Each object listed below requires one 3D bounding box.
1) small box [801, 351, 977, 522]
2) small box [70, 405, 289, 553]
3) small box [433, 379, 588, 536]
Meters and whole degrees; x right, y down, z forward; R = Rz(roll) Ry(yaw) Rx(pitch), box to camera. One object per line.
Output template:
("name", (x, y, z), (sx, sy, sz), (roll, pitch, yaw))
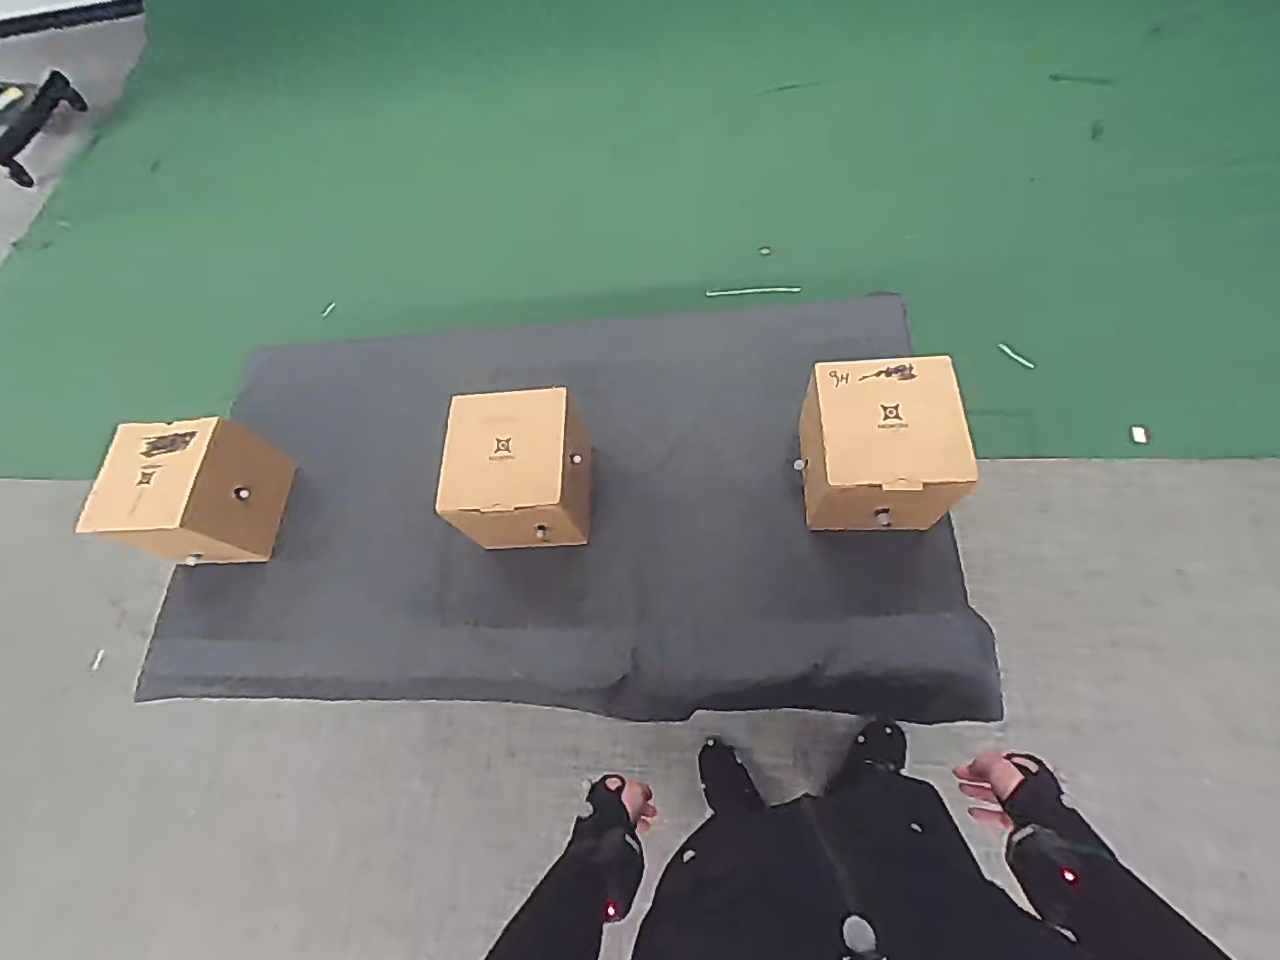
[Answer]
("small box", (0.311, -0.048, 0.715), (0.168, 0.176, 0.179), (-1, 67, 8))
("small box", (-0.685, 0.004, 0.833), (0.168, 0.176, 0.179), (-2, 66, 7))
("small box", (-0.171, -0.022, 0.776), (0.168, 0.176, 0.179), (-3, 65, 6))
